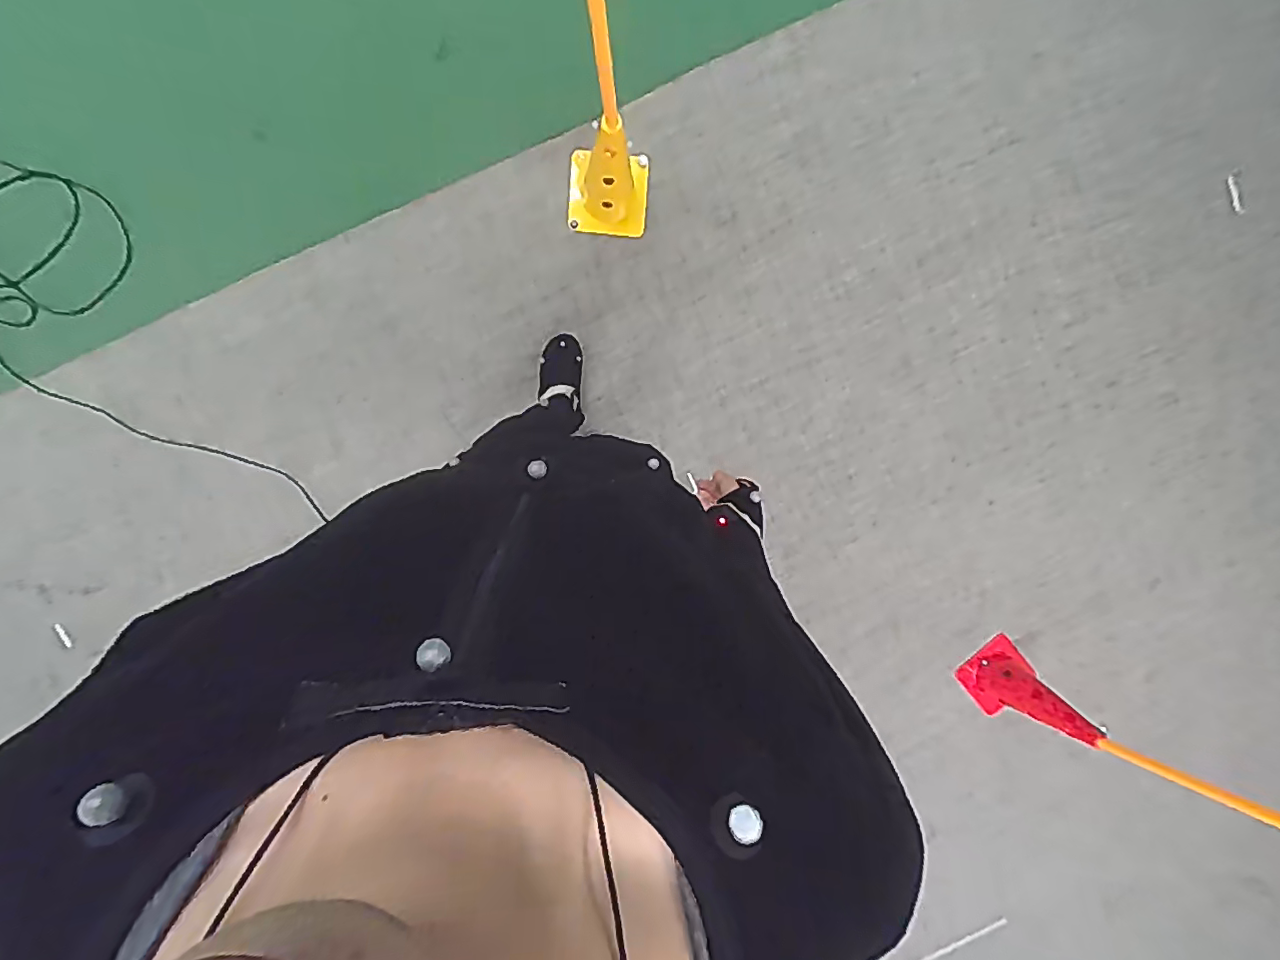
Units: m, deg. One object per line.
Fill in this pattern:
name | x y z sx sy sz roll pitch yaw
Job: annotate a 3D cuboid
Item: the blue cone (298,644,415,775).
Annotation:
blue cone | -0.712 0.580 1.327 0.192 0.380 0.193 19 97 -8
